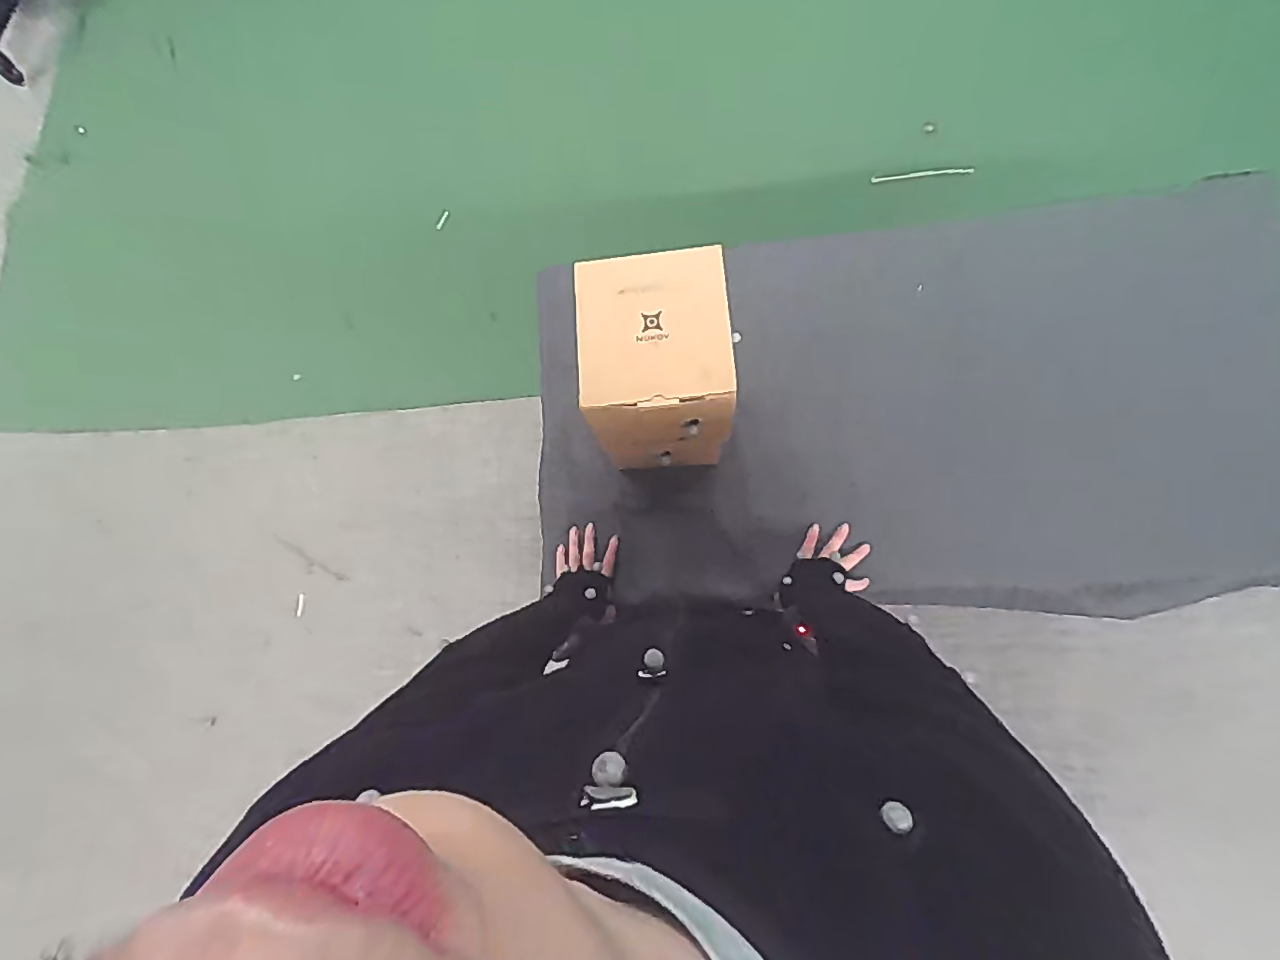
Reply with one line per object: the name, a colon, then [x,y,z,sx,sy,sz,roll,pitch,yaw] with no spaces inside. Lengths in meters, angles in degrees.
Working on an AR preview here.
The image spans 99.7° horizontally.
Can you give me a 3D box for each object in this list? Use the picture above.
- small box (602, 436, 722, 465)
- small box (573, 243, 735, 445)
small box: [0.036,-0.122,0.808,0.168,0.176,0.179,-3,76,5]
small box: [0.020,-0.147,0.647,0.168,0.176,0.179,-5,75,4]
